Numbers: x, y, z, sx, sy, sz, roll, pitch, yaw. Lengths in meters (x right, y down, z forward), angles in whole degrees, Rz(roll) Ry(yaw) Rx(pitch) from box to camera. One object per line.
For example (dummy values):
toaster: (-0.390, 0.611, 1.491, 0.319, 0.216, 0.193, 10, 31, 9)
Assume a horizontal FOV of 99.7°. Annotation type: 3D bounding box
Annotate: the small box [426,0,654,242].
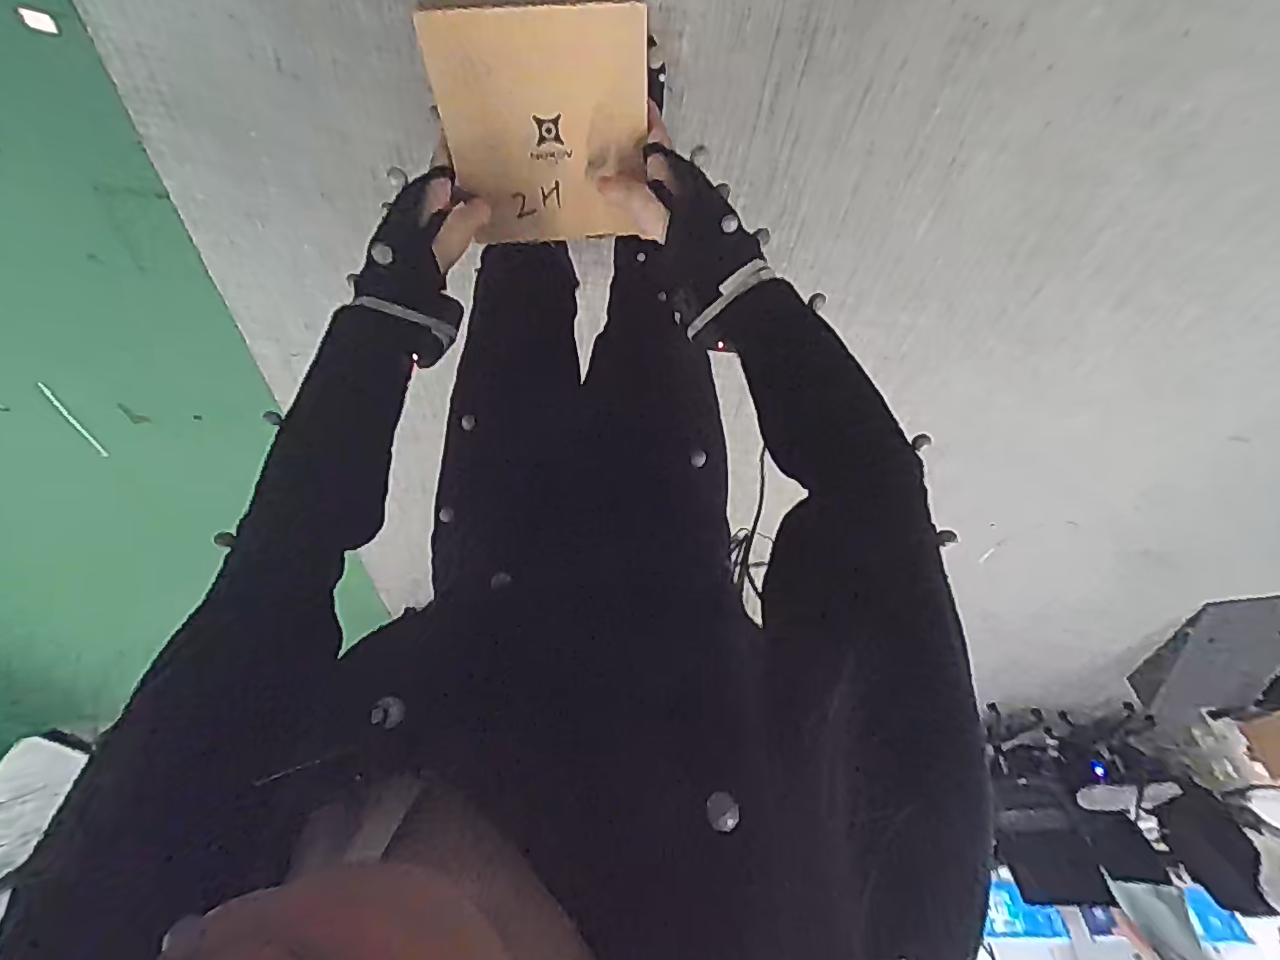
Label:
small box: (-0.080, -0.349, 0.496, 0.168, 0.176, 0.179, -4, 145, -3)
